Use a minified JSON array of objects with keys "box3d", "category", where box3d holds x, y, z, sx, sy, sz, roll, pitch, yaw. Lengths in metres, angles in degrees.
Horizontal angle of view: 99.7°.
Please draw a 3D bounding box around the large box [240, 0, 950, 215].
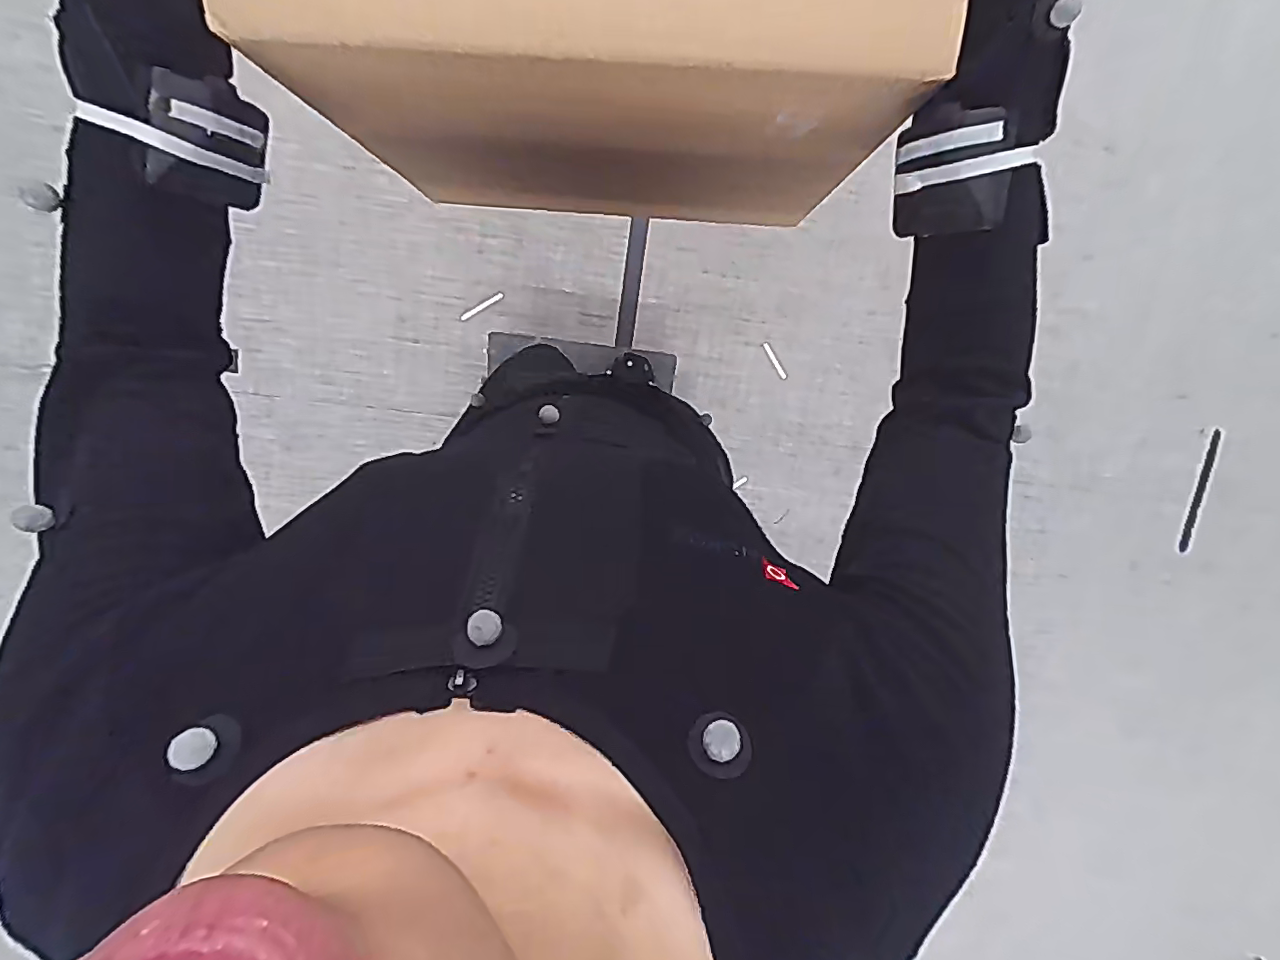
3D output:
[{"box3d":[-0.021,-0.421,0.423,0.408,0.320,0.320,3,102,-1],"category":"large box"}]
